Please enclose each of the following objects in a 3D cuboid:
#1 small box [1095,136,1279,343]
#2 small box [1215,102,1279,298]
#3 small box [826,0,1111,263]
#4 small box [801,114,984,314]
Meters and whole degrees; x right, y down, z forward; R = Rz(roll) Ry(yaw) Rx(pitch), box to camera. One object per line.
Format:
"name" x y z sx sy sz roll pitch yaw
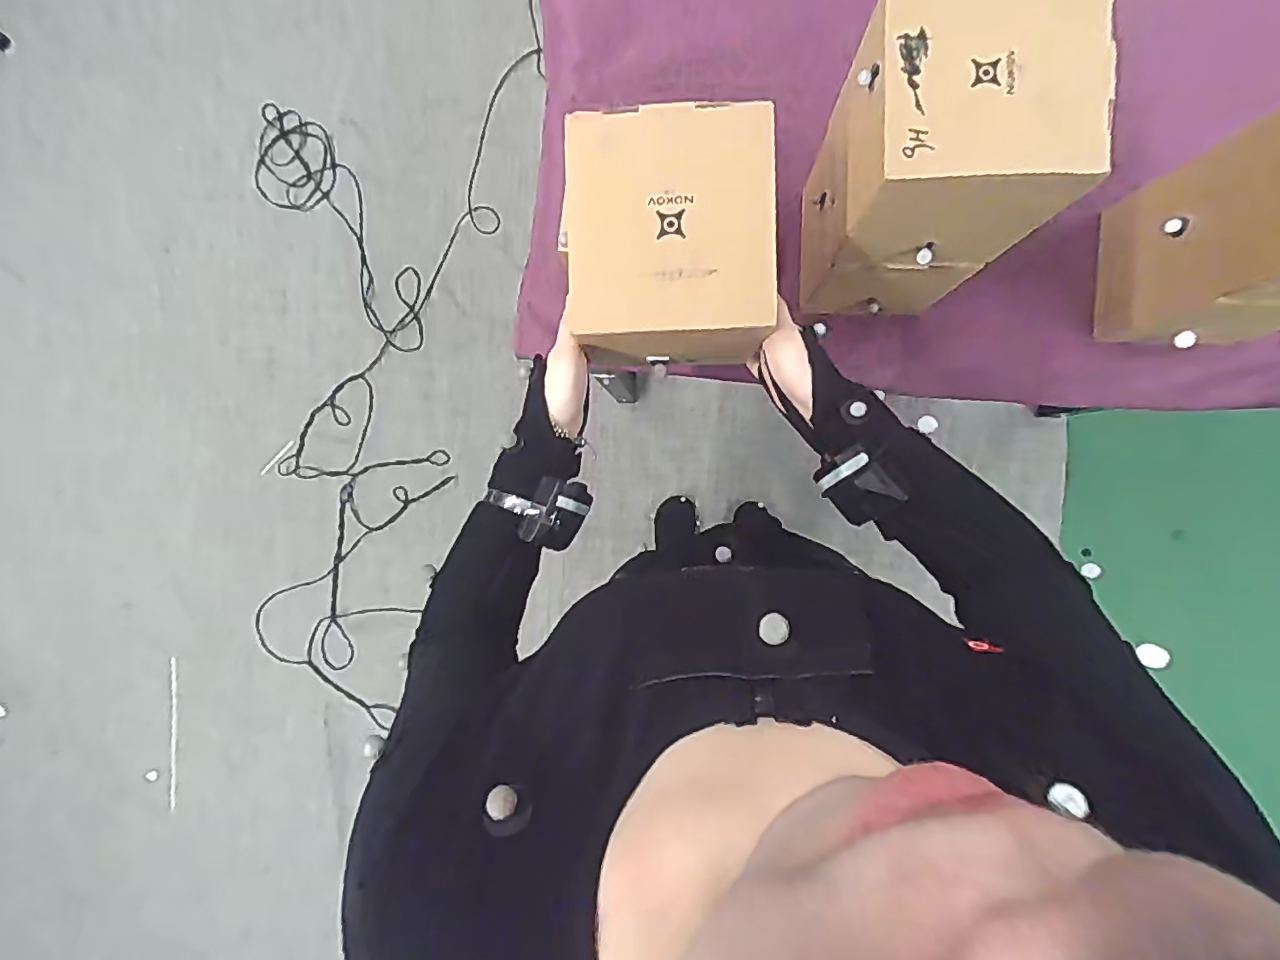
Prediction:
"small box" 0.693 -0.274 0.647 0.168 0.176 0.179 3 91 5
"small box" 0.682 -0.277 0.485 0.168 0.176 0.179 2 91 5
"small box" 0.289 -0.320 0.511 0.179 0.176 0.168 0 88 4
"small box" 0.302 -0.321 0.675 0.168 0.176 0.179 1 90 5
